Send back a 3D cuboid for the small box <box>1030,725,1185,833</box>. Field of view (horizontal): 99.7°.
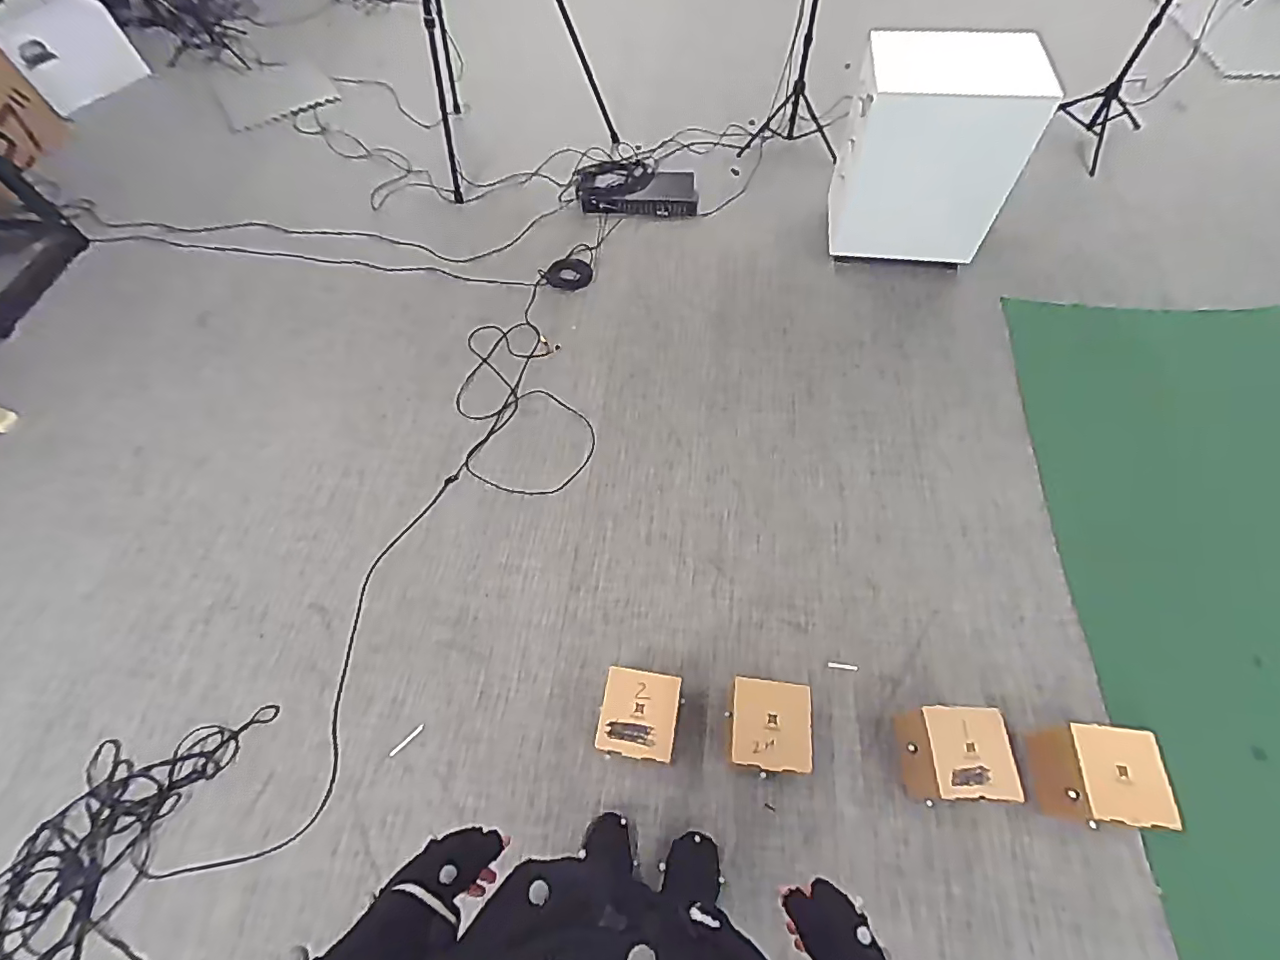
[{"bbox_3d":[0.977,0.636,1.152,0.168,0.176,0.179,4,60,6],"label":"small box"}]

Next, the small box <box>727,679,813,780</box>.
[{"bbox_3d":[0.289,0.566,1.220,0.168,0.176,0.179,5,60,7],"label":"small box"}]

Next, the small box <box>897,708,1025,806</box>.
[{"bbox_3d":[0.687,0.607,1.181,0.168,0.176,0.179,1,59,3],"label":"small box"}]
